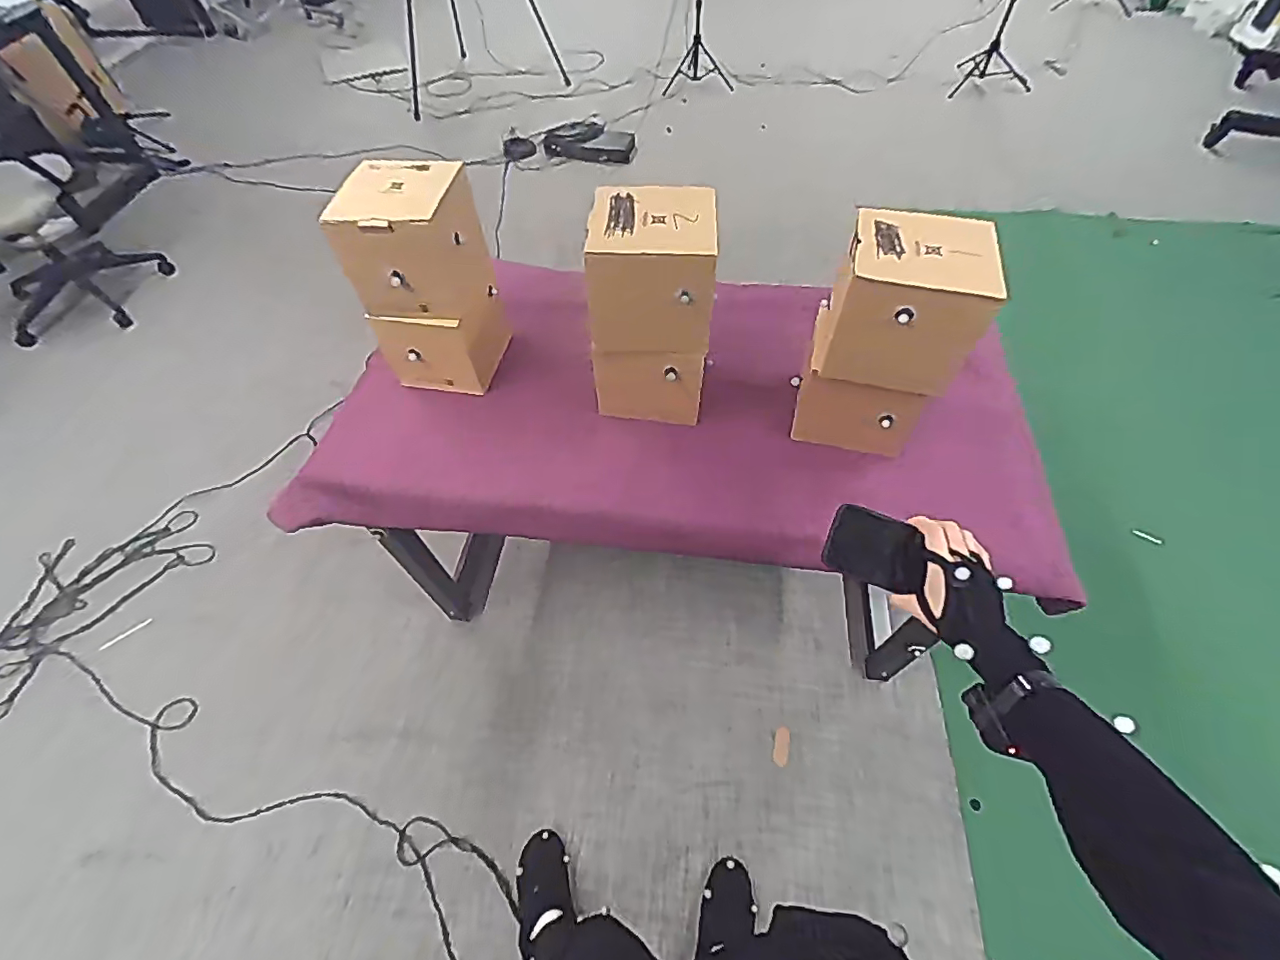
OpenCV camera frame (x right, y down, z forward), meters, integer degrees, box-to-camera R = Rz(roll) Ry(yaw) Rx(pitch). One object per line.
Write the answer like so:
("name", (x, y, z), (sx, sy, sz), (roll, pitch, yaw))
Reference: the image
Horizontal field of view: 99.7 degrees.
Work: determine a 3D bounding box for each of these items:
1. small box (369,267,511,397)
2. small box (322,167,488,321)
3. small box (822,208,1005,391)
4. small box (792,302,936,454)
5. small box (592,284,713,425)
("small box", (-0.354, -0.273, 0.999), (0.168, 0.176, 0.179), (7, 55, 8))
("small box", (-0.360, -0.374, 0.869), (0.168, 0.176, 0.179), (3, 56, 4))
("small box", (0.359, -0.243, 0.742), (0.179, 0.176, 0.168), (12, 56, 10))
("small box", (0.360, -0.162, 0.885), (0.179, 0.176, 0.168), (11, 56, 12))
("small box", (0.027, -0.213, 0.936), (0.179, 0.176, 0.168), (6, 55, 7))
